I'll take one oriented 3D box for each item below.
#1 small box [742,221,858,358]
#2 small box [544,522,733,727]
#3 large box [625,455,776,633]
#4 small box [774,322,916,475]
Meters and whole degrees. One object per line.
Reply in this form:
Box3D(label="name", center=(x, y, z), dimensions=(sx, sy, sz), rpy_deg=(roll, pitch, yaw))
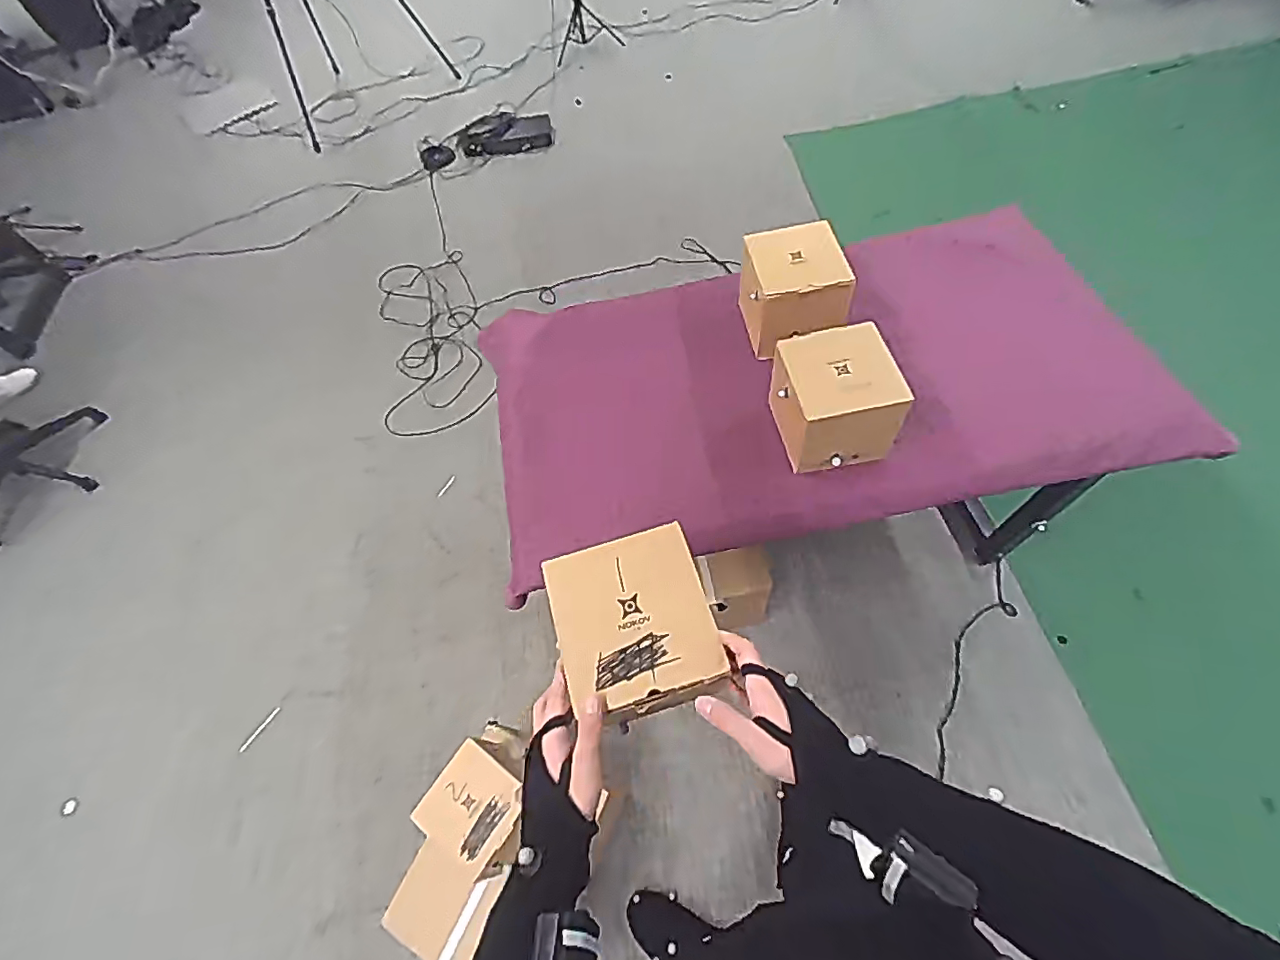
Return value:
Box3D(label="small box", center=(0.300, -0.368, 1.058), dimensions=(0.168, 0.176, 0.179), rpy_deg=(-10, 60, 2))
Box3D(label="small box", center=(0.001, 0.178, 0.636), dimensions=(0.168, 0.176, 0.179), rpy_deg=(-17, 62, -3))
Box3D(label="large box", center=(0.163, 0.204, 1.518), dimensions=(0.320, 0.320, 0.408), rpy_deg=(-12, 58, 1))
Box3D(label="small box", center=(0.331, -0.134, 0.917), dimensions=(0.168, 0.176, 0.179), rpy_deg=(-11, 59, 3))
